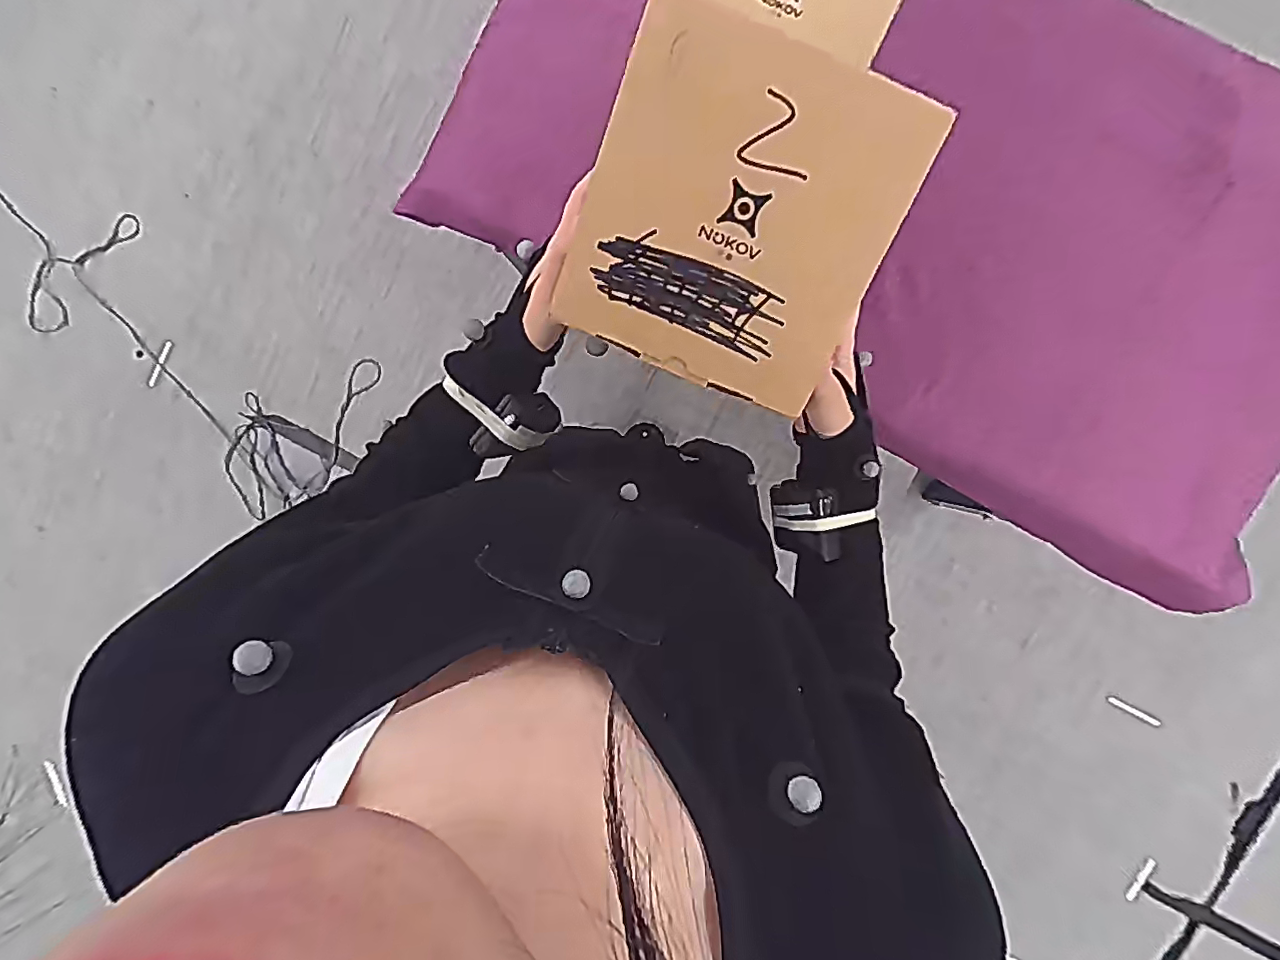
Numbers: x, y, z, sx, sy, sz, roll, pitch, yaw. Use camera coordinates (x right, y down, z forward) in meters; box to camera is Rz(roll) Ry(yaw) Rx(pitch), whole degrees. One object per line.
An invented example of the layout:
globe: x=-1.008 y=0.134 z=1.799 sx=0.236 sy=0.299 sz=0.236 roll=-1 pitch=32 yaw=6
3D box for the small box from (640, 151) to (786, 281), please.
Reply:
small box: x=0.114 y=-0.374 z=0.659 sx=0.168 sy=0.176 sz=0.179 roll=28 pitch=93 yaw=0

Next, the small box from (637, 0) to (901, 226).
small box: x=0.111 y=-0.370 z=0.495 sx=0.168 sy=0.176 sz=0.179 roll=26 pitch=94 yaw=0
